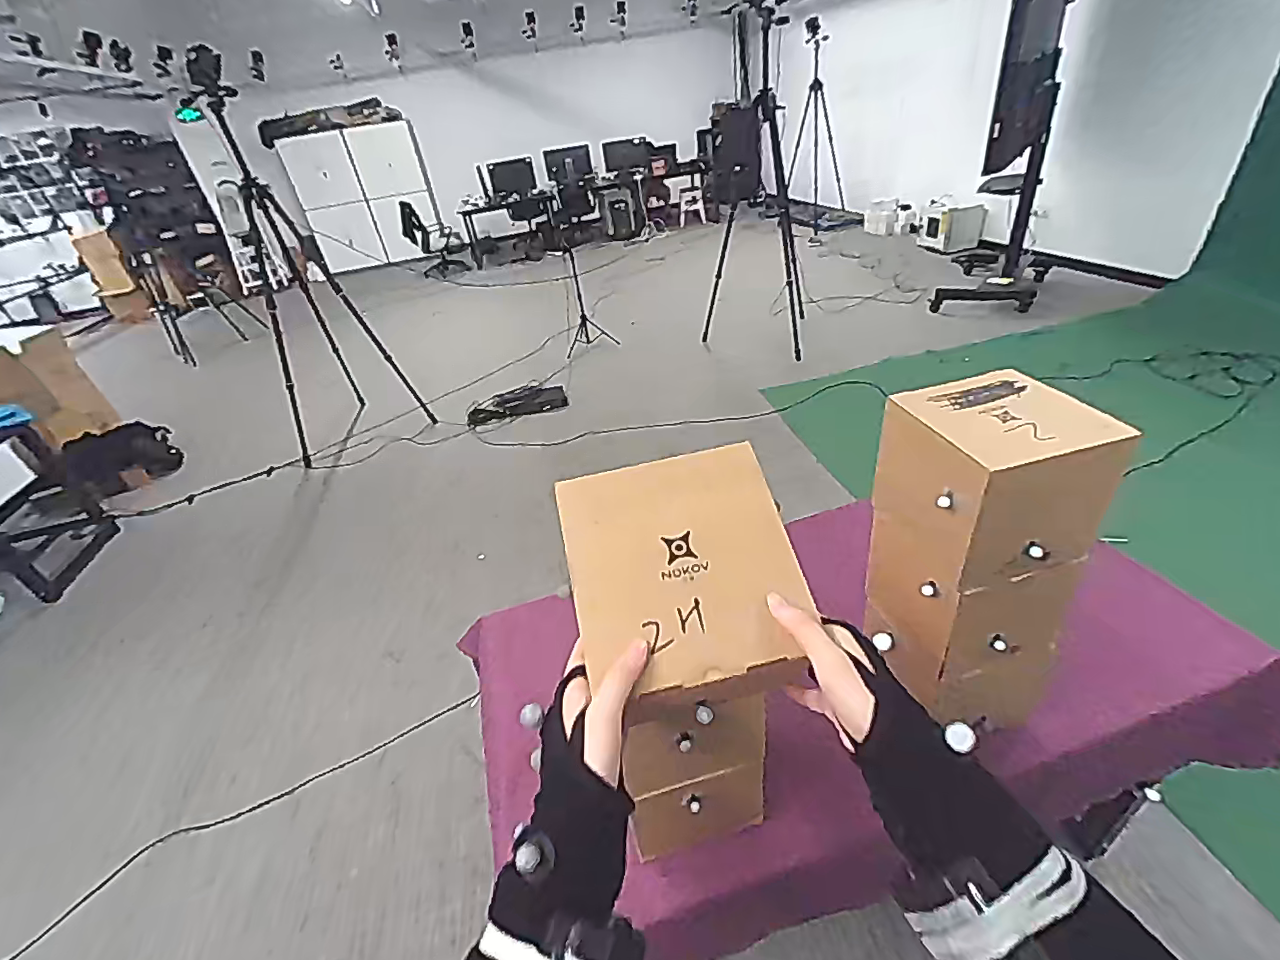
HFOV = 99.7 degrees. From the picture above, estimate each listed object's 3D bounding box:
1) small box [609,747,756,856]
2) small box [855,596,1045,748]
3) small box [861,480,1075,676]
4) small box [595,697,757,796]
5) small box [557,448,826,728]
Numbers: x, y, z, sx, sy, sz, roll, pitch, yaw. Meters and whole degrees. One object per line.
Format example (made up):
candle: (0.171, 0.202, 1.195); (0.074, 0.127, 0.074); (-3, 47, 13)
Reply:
small box: (0.052, 0.383, 0.752); (0.179, 0.176, 0.168); (-13, 35, -7)
small box: (0.451, 0.268, 0.820); (0.179, 0.176, 0.168); (-14, 34, -8)
small box: (0.424, 0.130, 0.737); (0.168, 0.176, 0.179); (-14, 35, -7)
small box: (0.035, 0.247, 0.663); (0.179, 0.176, 0.168); (-16, 35, -6)
small box: (0.031, 0.100, 0.469); (0.168, 0.176, 0.179); (-13, 63, -4)
